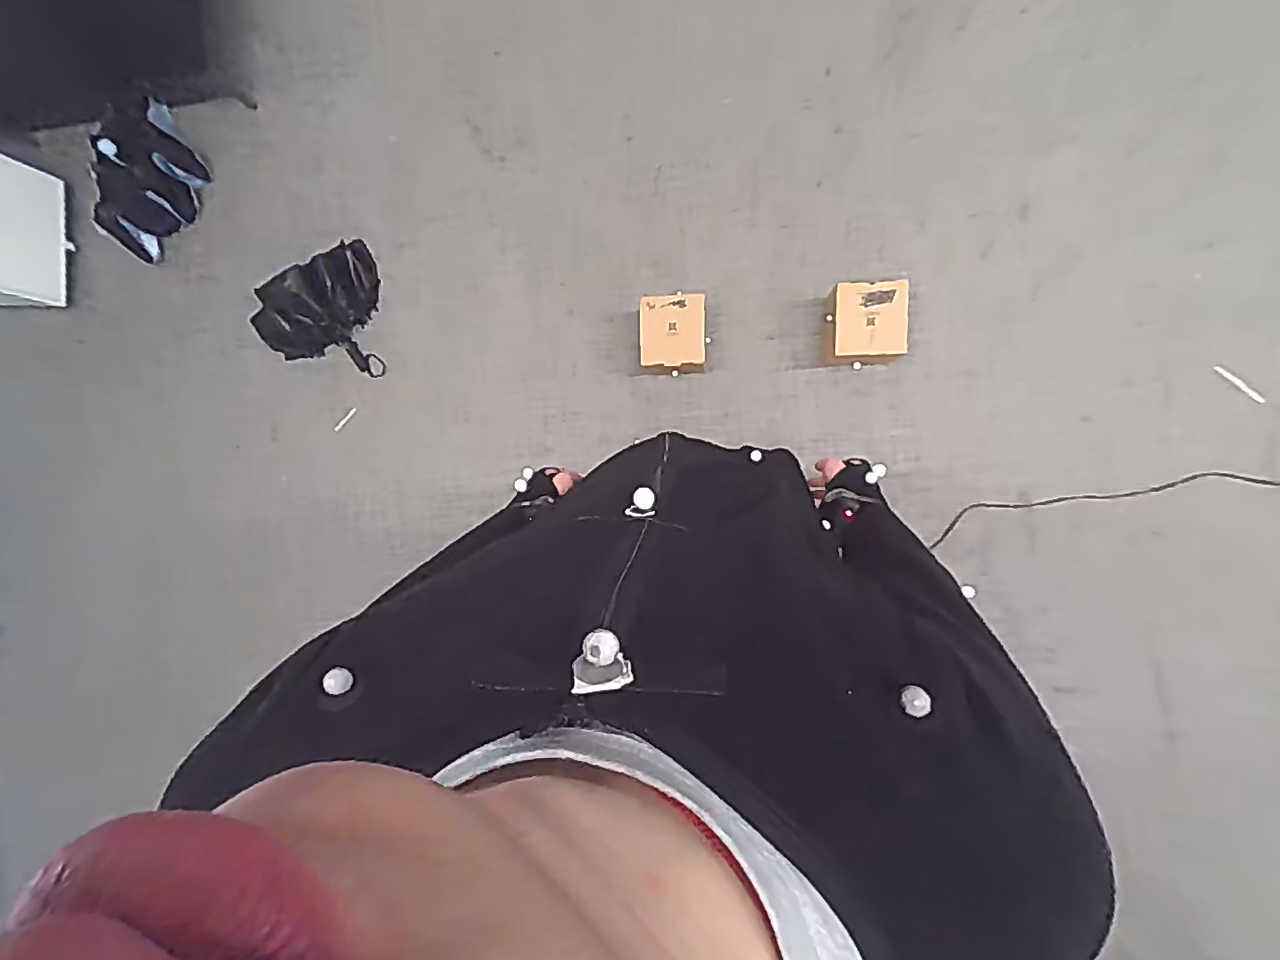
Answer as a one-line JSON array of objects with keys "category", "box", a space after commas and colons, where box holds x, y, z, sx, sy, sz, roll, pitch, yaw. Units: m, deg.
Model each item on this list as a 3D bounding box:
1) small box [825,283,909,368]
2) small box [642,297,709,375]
[{"category": "small box", "box": [0.570, -0.387, 1.377, 0.168, 0.176, 0.179, 0, 94, 9]}, {"category": "small box", "box": [0.100, -0.377, 1.450, 0.168, 0.176, 0.179, 0, 93, 9]}]
